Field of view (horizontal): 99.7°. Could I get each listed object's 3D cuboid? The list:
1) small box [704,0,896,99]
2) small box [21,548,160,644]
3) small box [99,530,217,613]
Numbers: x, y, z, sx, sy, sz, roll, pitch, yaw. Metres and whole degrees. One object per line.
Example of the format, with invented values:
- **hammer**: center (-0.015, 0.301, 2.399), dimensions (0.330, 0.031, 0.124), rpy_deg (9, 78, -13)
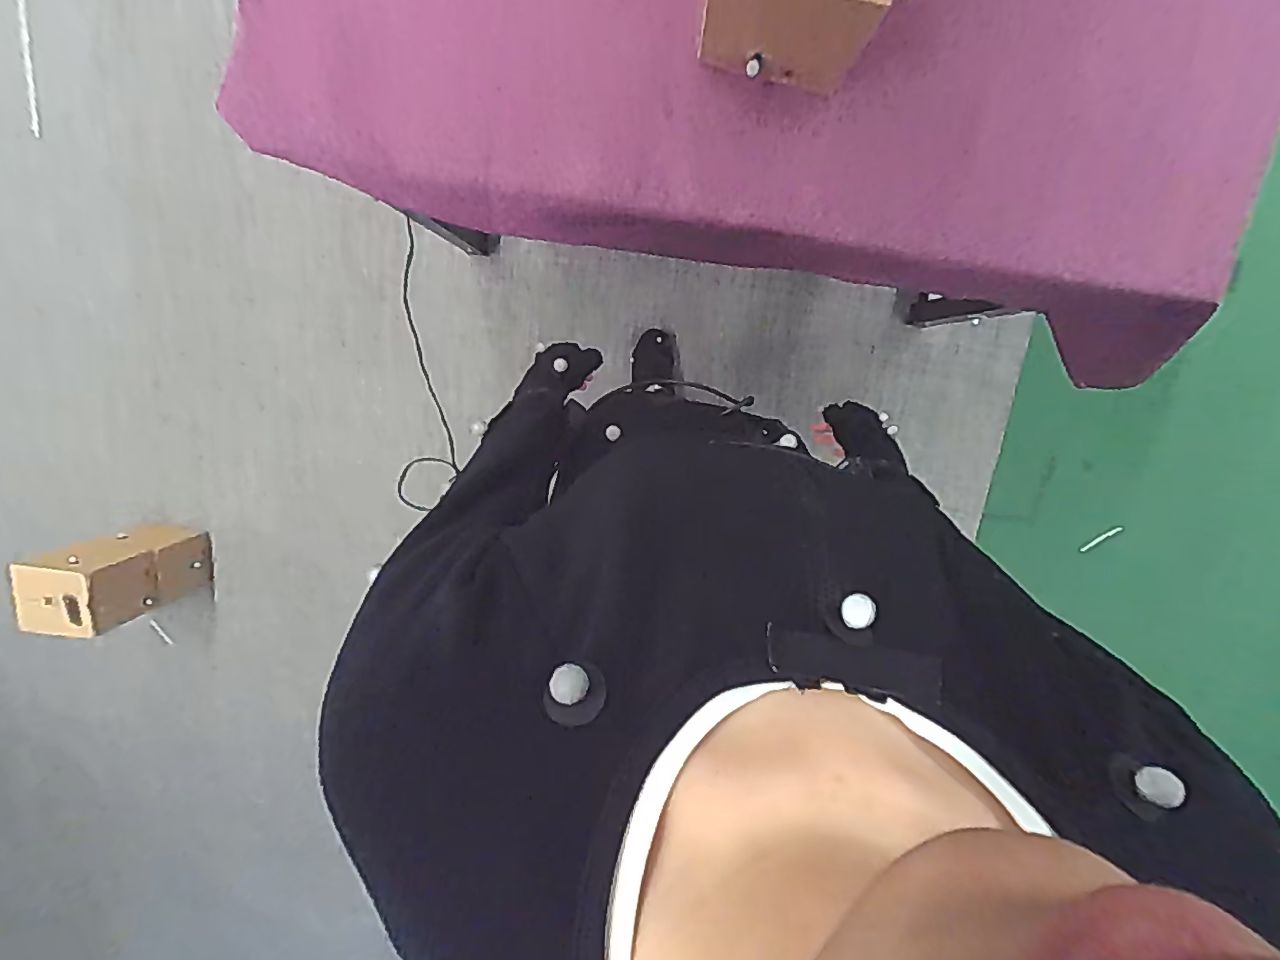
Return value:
- **small box**: center (0.165, -0.528, 0.536), dimensions (0.168, 0.176, 0.179), rpy_deg (13, 102, -1)
- **small box**: center (-1.313, 0.274, 1.310), dimensions (0.179, 0.176, 0.168), rpy_deg (7, 102, 1)
- **small box**: center (-1.302, 0.242, 1.471), dimensions (0.179, 0.176, 0.168), rpy_deg (7, 102, -1)
